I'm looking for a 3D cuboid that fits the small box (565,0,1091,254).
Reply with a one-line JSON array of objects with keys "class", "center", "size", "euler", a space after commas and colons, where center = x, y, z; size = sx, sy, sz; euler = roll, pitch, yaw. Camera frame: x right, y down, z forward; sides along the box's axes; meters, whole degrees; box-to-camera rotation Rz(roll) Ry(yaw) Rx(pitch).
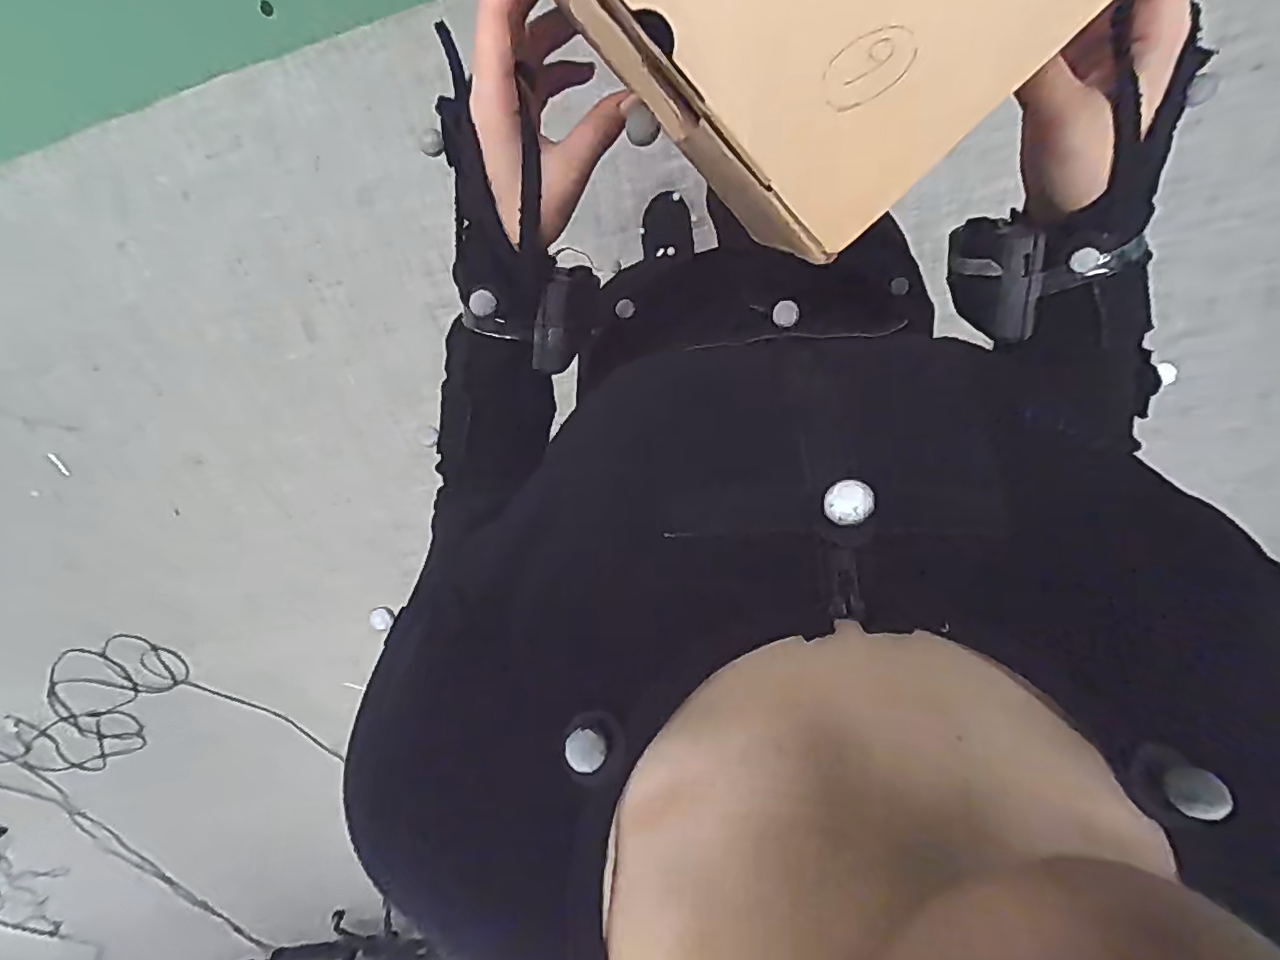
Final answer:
[{"class": "small box", "center": [0.069, -0.217, 0.209], "size": [0.168, 0.176, 0.179], "euler": [42, 112, -15]}]
